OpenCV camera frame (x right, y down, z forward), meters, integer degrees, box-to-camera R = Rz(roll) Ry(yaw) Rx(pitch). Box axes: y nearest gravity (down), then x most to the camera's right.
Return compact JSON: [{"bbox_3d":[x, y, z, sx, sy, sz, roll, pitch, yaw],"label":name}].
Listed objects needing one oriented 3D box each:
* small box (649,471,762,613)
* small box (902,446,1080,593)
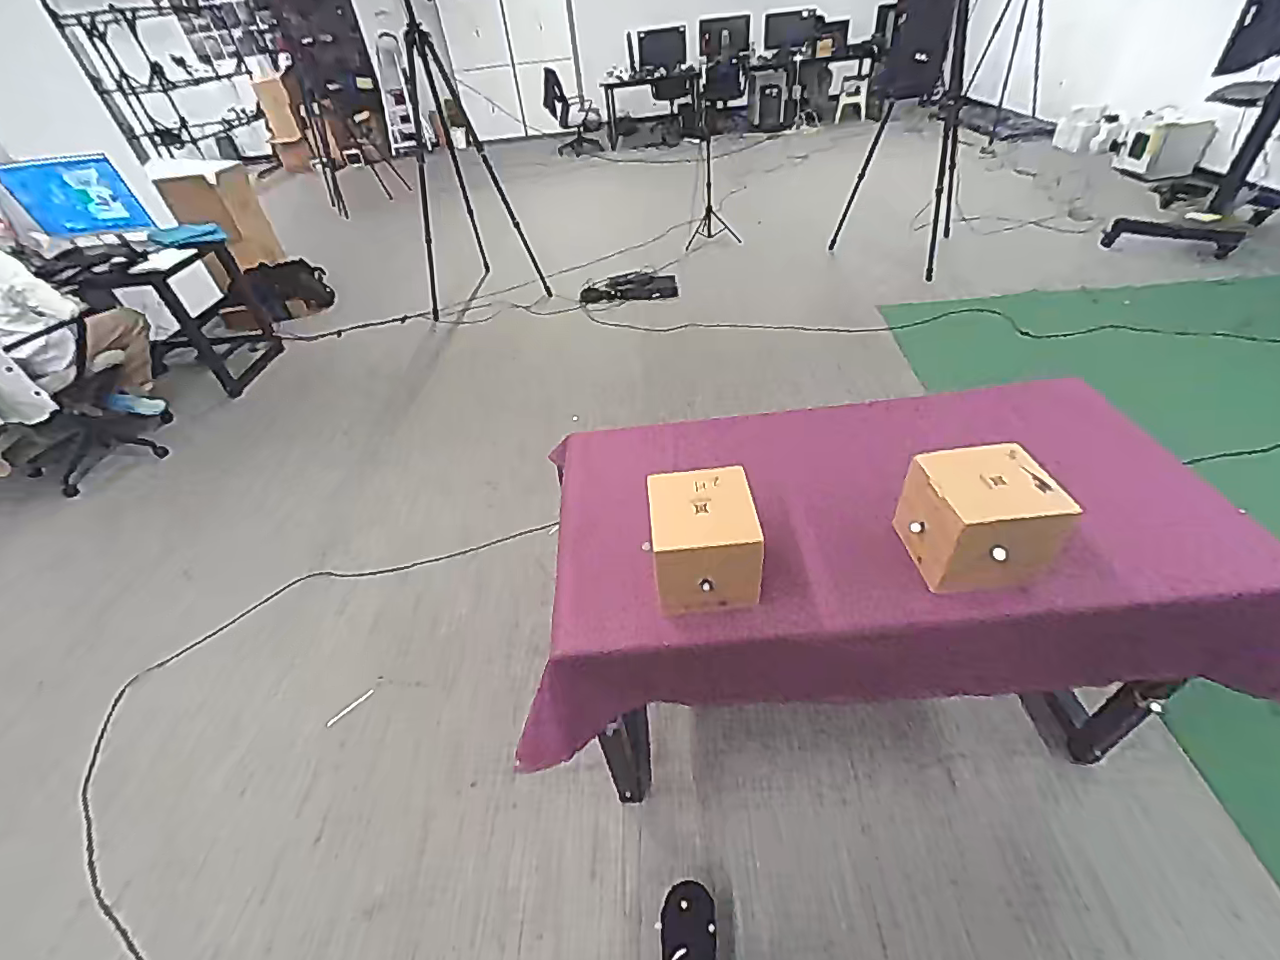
[{"bbox_3d":[0.107,0.109,0.909,0.168,0.176,0.179,-6,40,2],"label":"small box"},{"bbox_3d":[0.551,0.068,0.885,0.179,0.176,0.168,-7,41,2],"label":"small box"}]
